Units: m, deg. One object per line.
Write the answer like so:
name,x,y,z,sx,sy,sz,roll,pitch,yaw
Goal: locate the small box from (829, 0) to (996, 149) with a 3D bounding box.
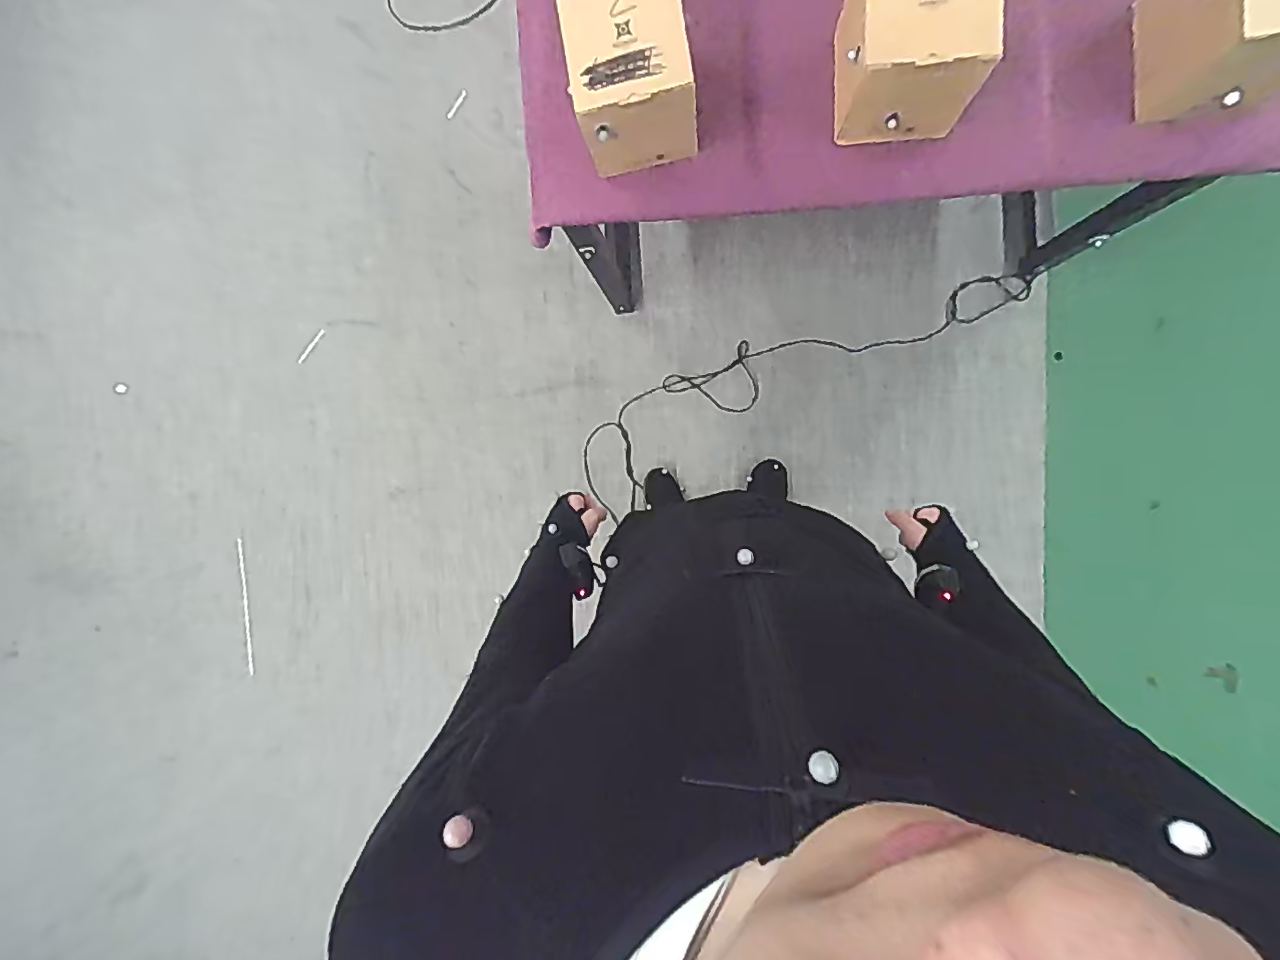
small box,0.371,-0.606,0.764,0.168,0.176,0.179,-1,93,6
